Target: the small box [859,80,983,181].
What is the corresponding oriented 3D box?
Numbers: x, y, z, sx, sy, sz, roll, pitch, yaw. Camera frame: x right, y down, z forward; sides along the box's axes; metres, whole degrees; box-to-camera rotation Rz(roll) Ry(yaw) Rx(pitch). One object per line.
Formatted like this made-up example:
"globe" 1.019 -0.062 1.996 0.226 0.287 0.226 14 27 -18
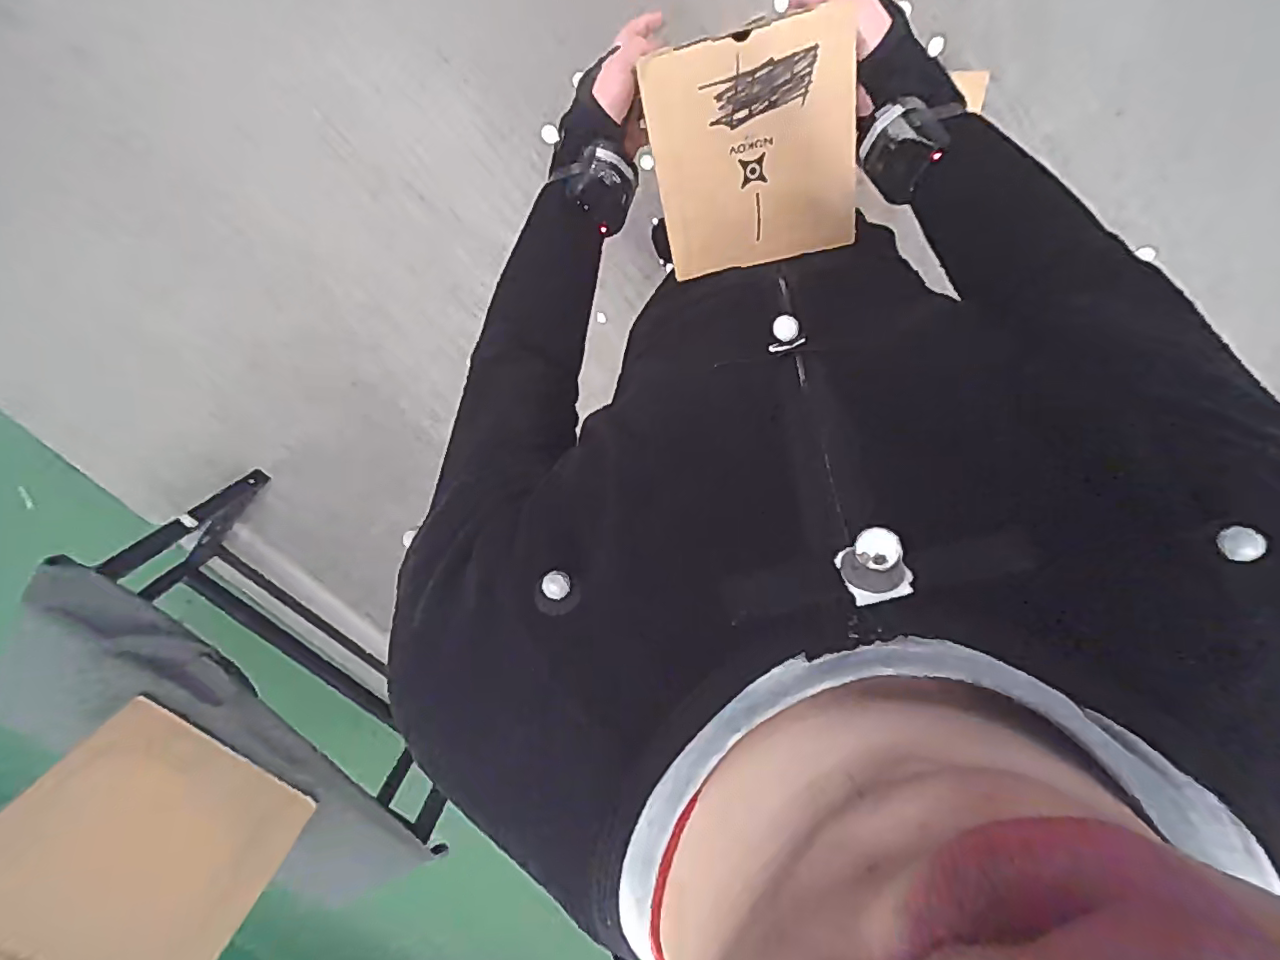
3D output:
"small box" 0.580 -0.733 1.147 0.179 0.176 0.168 3 118 7
